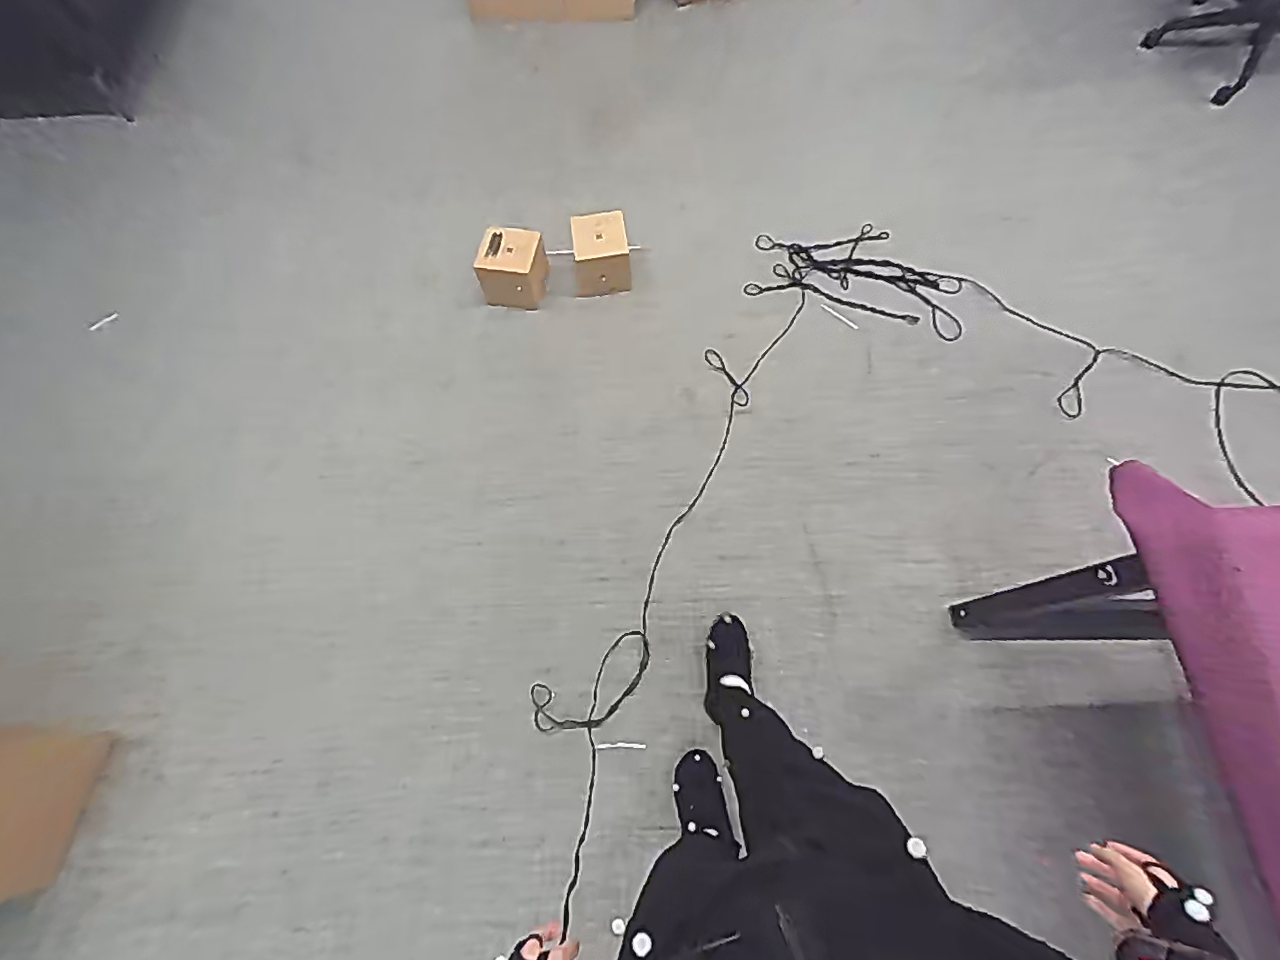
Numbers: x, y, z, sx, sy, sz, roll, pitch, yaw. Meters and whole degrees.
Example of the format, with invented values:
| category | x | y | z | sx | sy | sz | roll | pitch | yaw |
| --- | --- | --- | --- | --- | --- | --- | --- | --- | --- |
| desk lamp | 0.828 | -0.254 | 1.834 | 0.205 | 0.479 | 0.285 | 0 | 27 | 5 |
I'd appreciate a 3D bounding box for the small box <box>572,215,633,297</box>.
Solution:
| category | x | y | z | sx | sy | sz | roll | pitch | yaw |
| --- | --- | --- | --- | --- | --- | --- | --- | --- | --- |
| small box | -0.117 | -0.707 | 1.726 | 0.168 | 0.176 | 0.179 | -8 | 68 | 0 |
